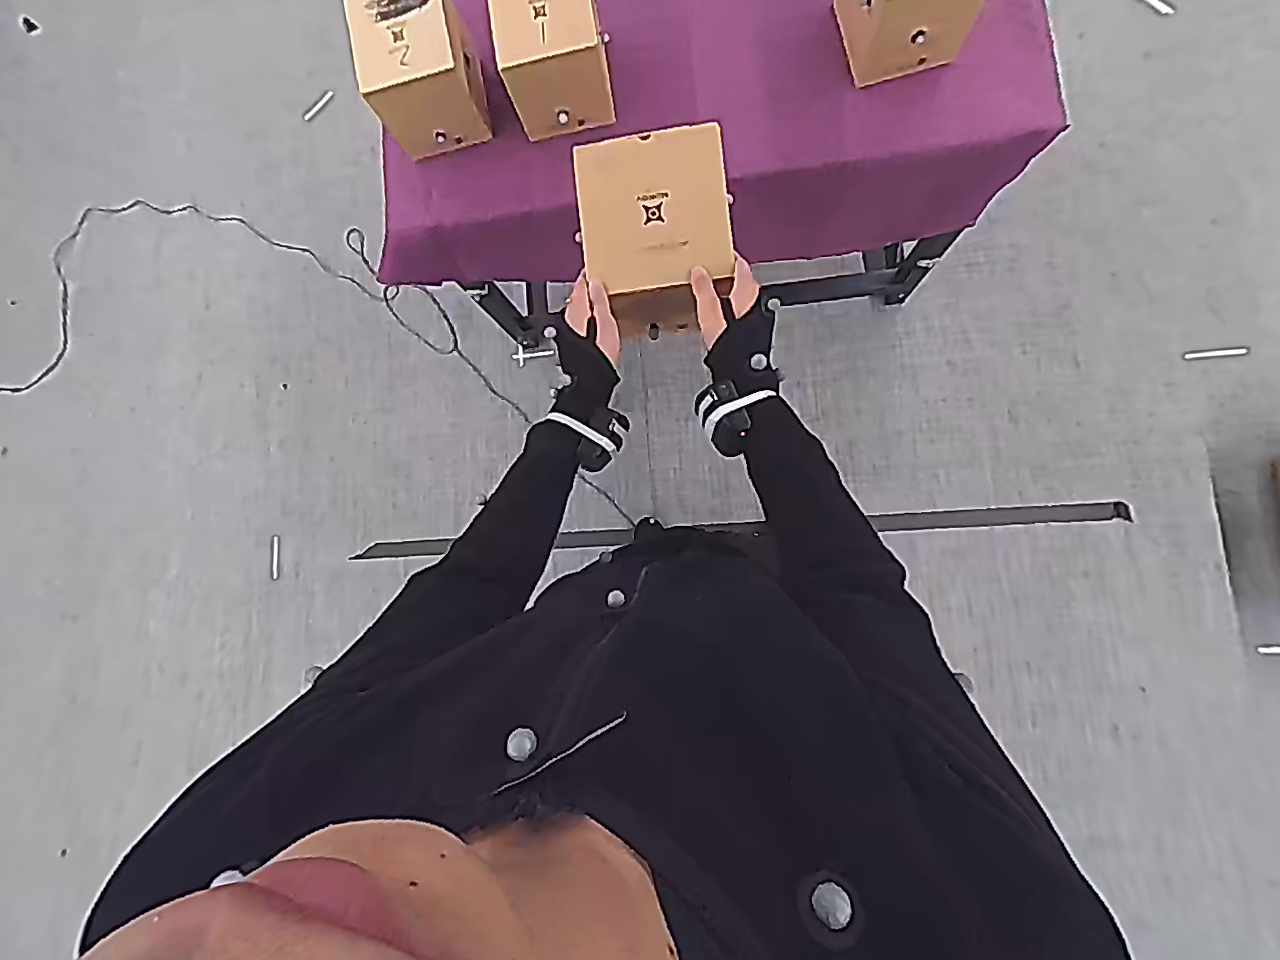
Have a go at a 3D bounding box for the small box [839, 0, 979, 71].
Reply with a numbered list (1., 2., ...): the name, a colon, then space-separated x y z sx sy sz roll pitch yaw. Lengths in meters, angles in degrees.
1. small box: 0.428 -0.791 0.849 0.168 0.176 0.179 -12 83 6

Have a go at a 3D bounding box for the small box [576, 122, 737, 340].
1. small box: 0.023 -0.290 0.664 0.168 0.176 0.179 -6 87 5

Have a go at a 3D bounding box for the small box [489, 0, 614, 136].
1. small box: -0.146 -0.737 0.920 0.168 0.176 0.179 -9 85 7
